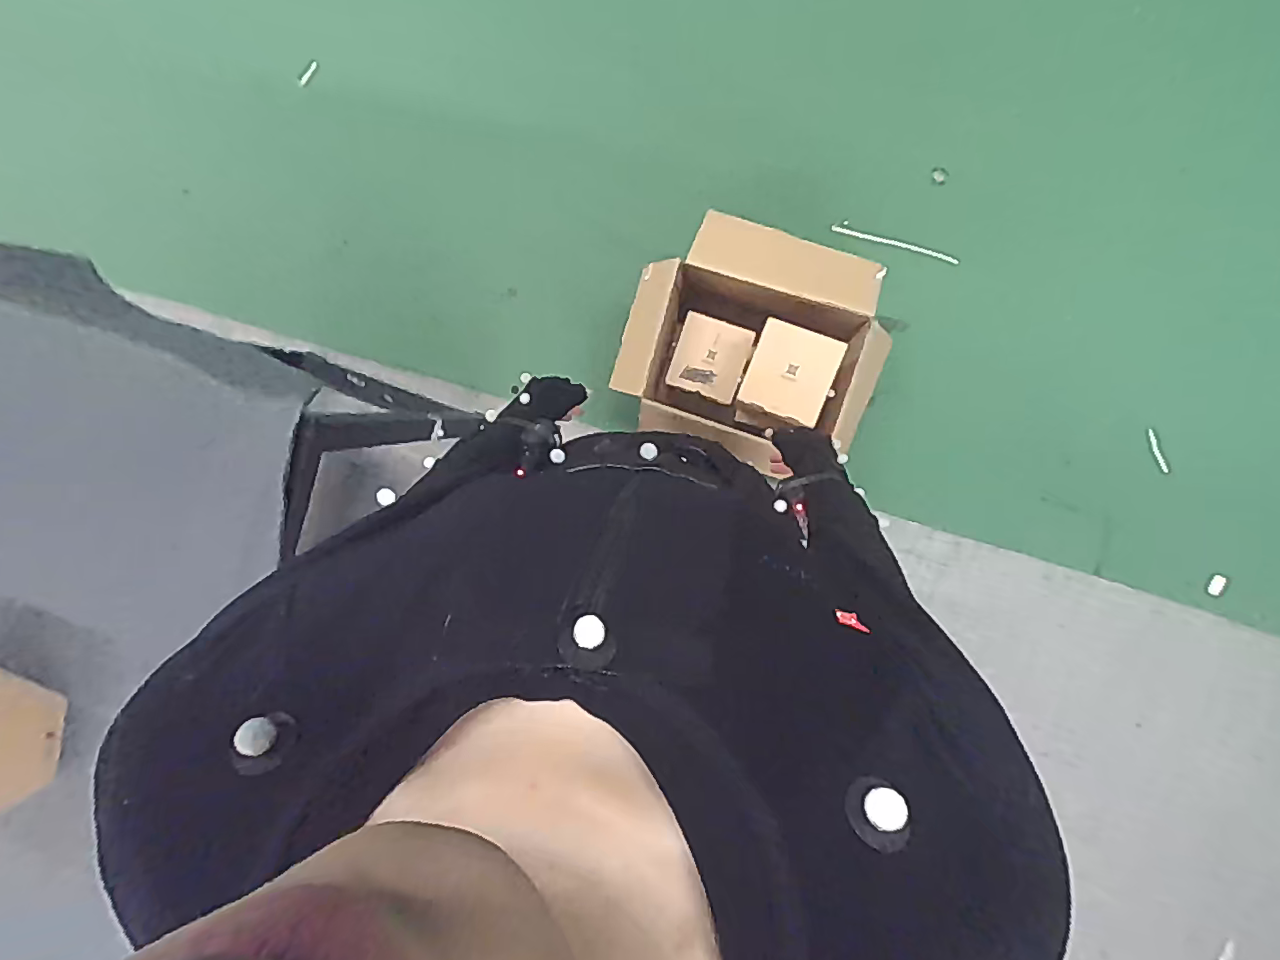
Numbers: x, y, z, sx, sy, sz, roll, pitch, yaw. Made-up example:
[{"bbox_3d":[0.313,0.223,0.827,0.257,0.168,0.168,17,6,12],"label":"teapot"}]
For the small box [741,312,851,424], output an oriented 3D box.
[{"bbox_3d":[0.320,-0.230,1.150,0.168,0.176,0.179,22,97,7],"label":"small box"}]
